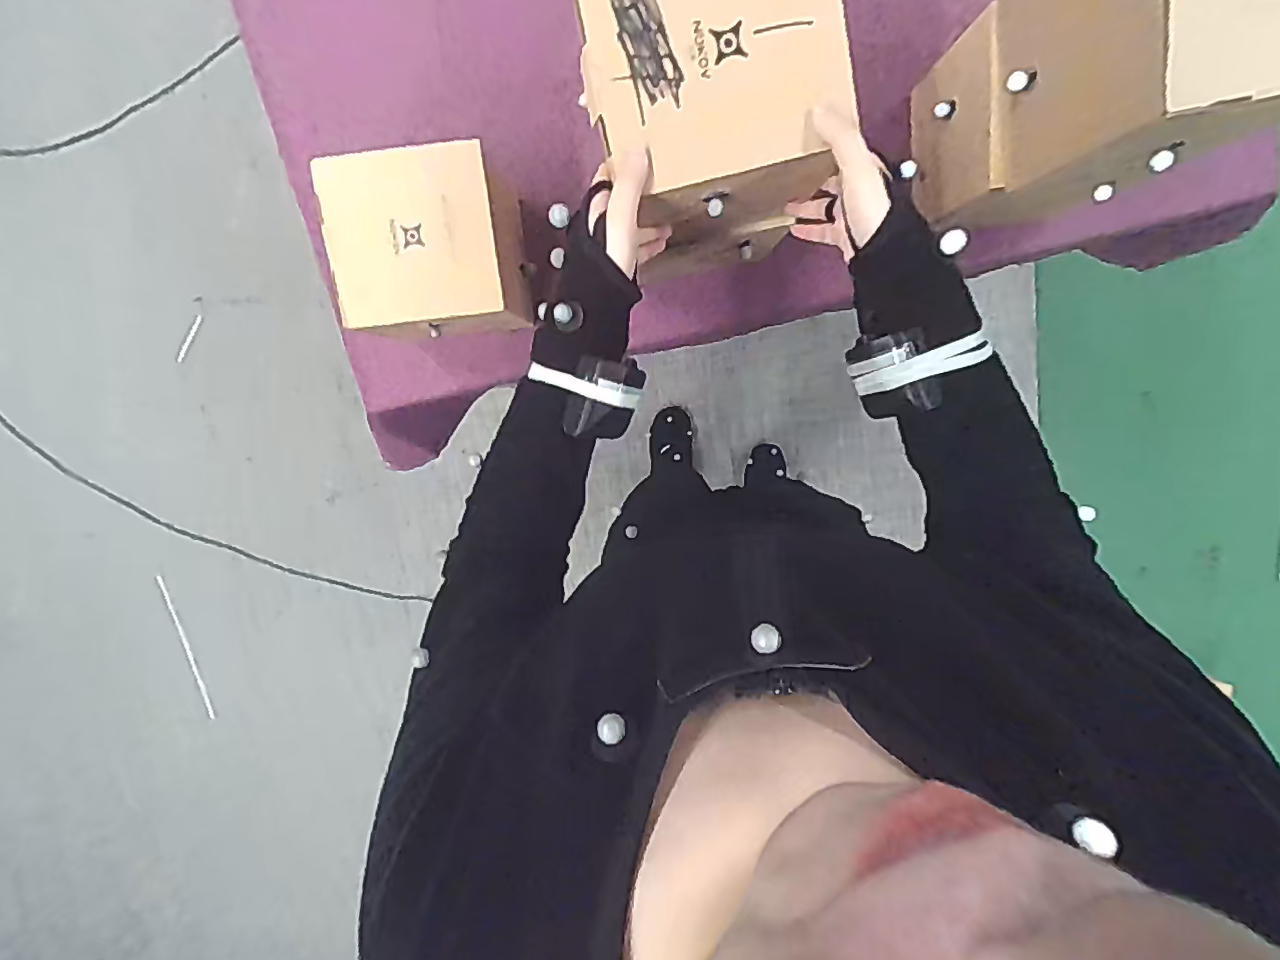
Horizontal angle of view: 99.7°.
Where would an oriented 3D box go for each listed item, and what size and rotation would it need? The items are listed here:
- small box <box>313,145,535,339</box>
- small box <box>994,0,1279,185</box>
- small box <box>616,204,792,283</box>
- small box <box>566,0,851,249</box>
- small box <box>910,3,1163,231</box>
[{"bbox_3d":[-0.235,-0.260,0.632,0.179,0.176,0.168,-6,101,2],"label":"small box"},{"bbox_3d":[0.416,-0.358,0.432,0.168,0.176,0.179,-10,101,2],"label":"small box"},{"bbox_3d":[0.056,-0.333,0.611,0.179,0.176,0.168,-10,100,4],"label":"small box"},{"bbox_3d":[0.049,-0.308,0.448,0.179,0.176,0.168,-12,101,3],"label":"small box"},{"bbox_3d":[0.417,-0.388,0.594,0.179,0.176,0.168,-6,100,2],"label":"small box"}]
